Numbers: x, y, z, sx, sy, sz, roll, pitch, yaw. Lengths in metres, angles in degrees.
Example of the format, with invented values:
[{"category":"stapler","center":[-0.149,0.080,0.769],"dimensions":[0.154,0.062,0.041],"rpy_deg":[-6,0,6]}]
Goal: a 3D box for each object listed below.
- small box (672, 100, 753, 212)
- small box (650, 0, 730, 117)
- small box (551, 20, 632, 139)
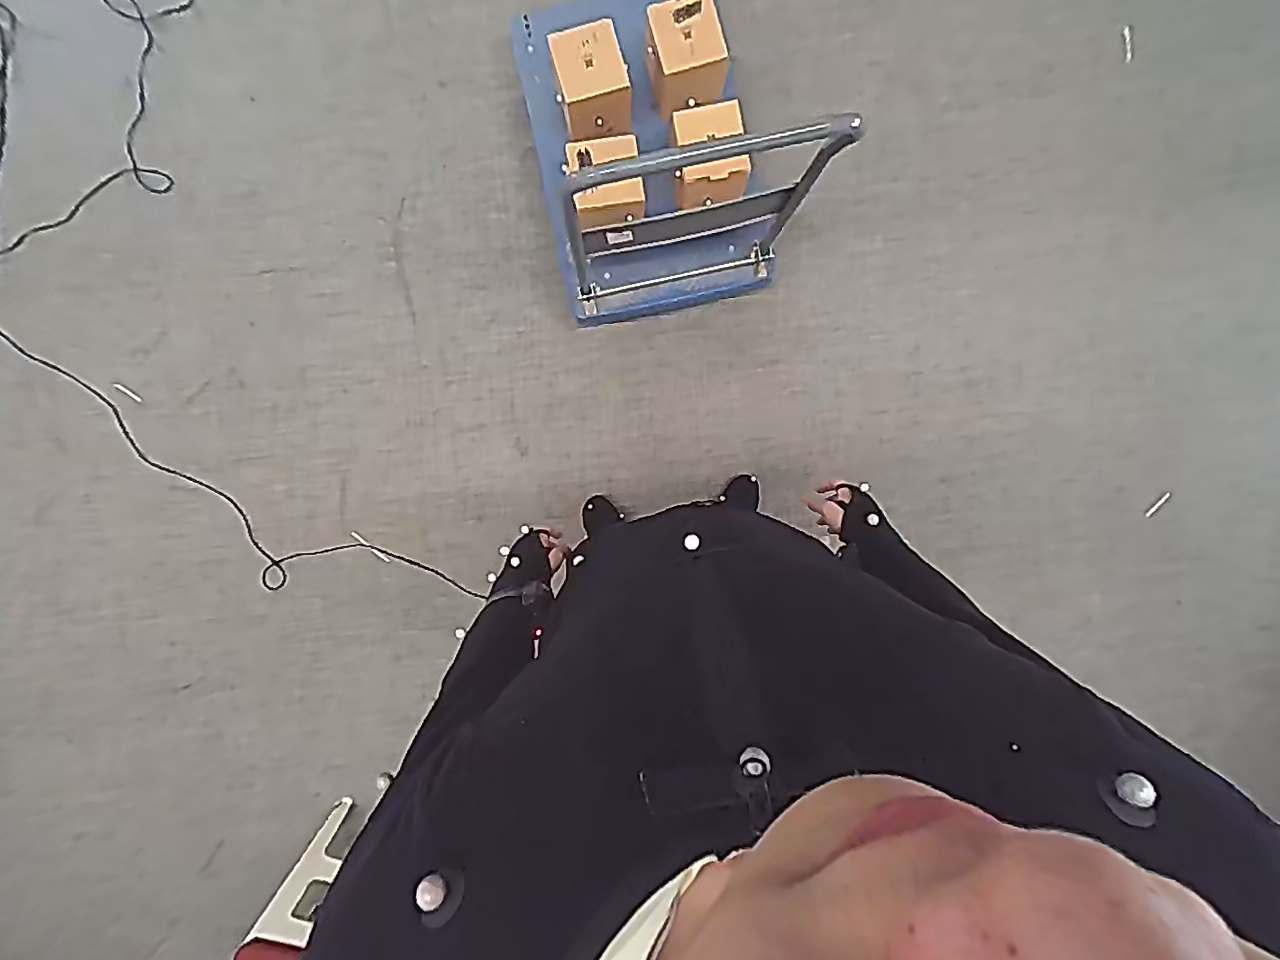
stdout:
[{"category":"small box","center":[0.182,-0.837,1.408],"dimensions":[0.168,0.176,0.179],"rpy_deg":[-12,90,0]},{"category":"small box","center":[0.123,-1.101,1.408],"dimensions":[0.168,0.176,0.179],"rpy_deg":[-16,91,1]},{"category":"small box","center":[-0.119,-1.029,1.409],"dimensions":[0.168,0.176,0.179],"rpy_deg":[-16,90,-1]}]
